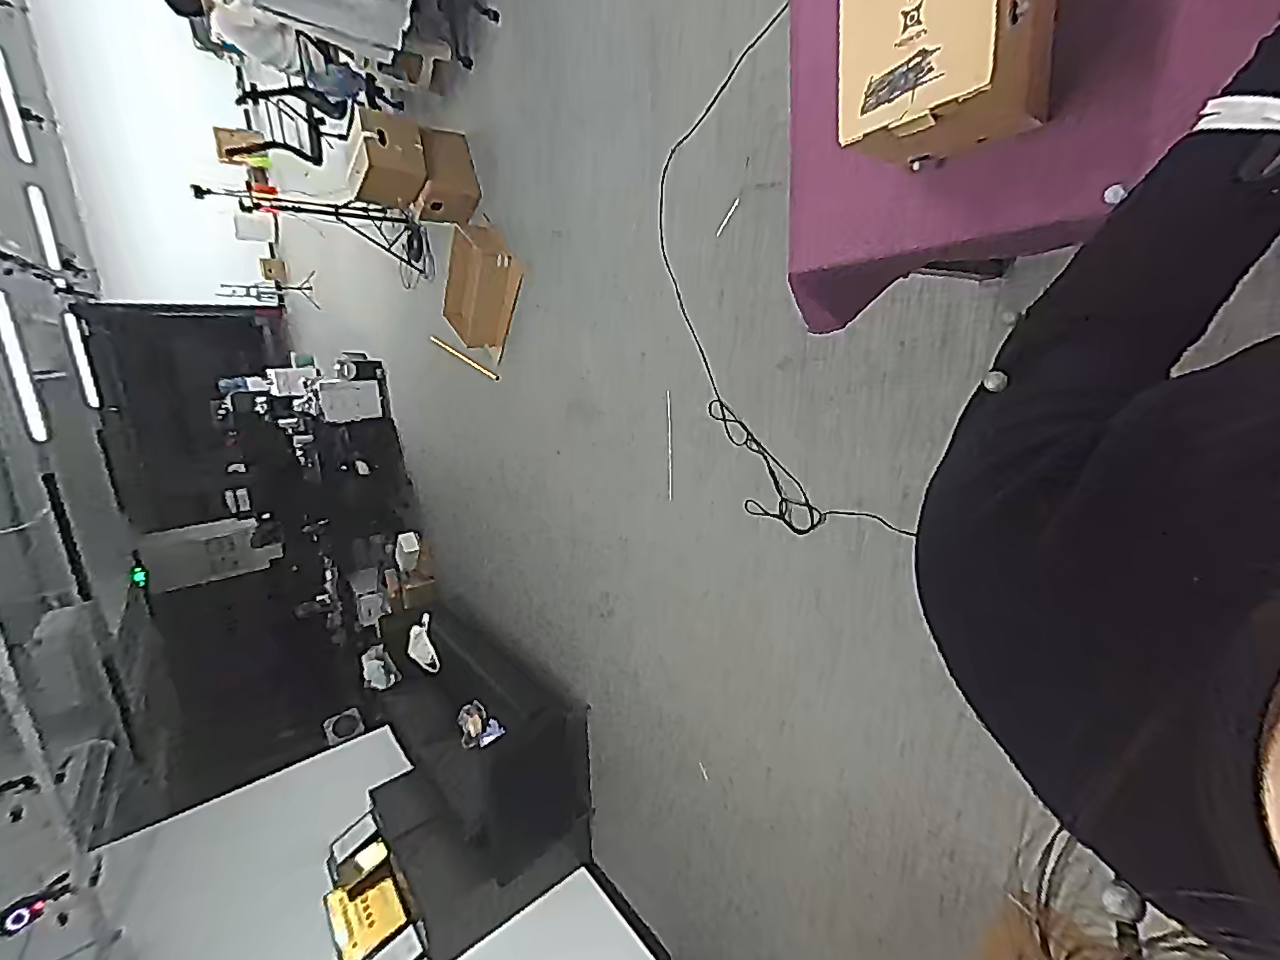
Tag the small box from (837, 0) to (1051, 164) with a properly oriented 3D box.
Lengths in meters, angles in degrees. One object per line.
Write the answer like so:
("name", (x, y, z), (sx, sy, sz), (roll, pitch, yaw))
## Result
("small box", (0.349, -0.489, 0.625), (0.168, 0.176, 0.179), (11, 107, 50))
